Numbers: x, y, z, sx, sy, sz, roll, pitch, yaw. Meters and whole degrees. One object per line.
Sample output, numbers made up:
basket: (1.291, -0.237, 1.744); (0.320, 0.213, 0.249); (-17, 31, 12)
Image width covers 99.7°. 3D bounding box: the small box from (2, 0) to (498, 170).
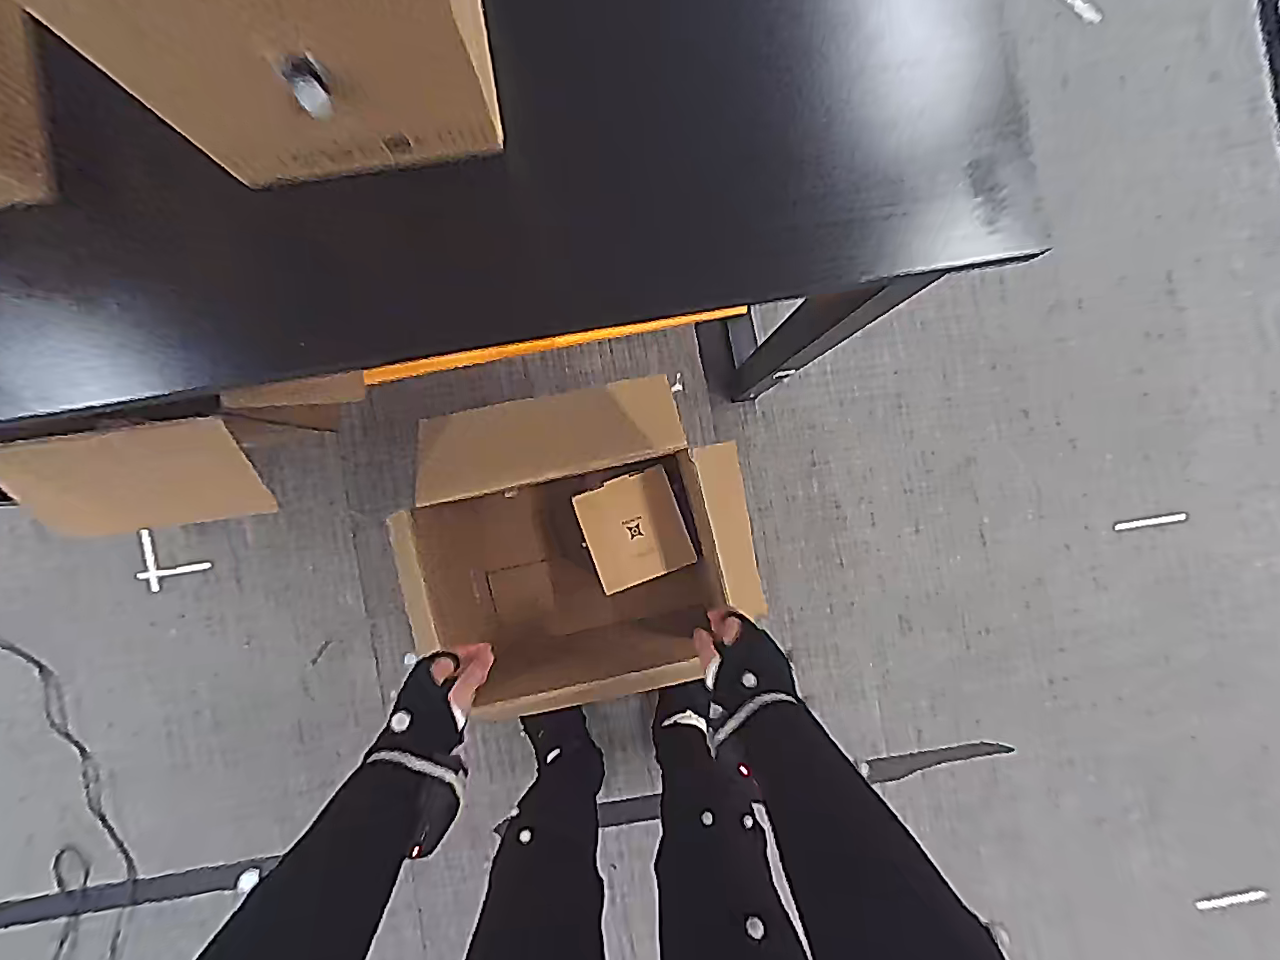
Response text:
small box: (-0.178, -0.280, 0.264); (0.168, 0.176, 0.179); (-9, 90, -2)
